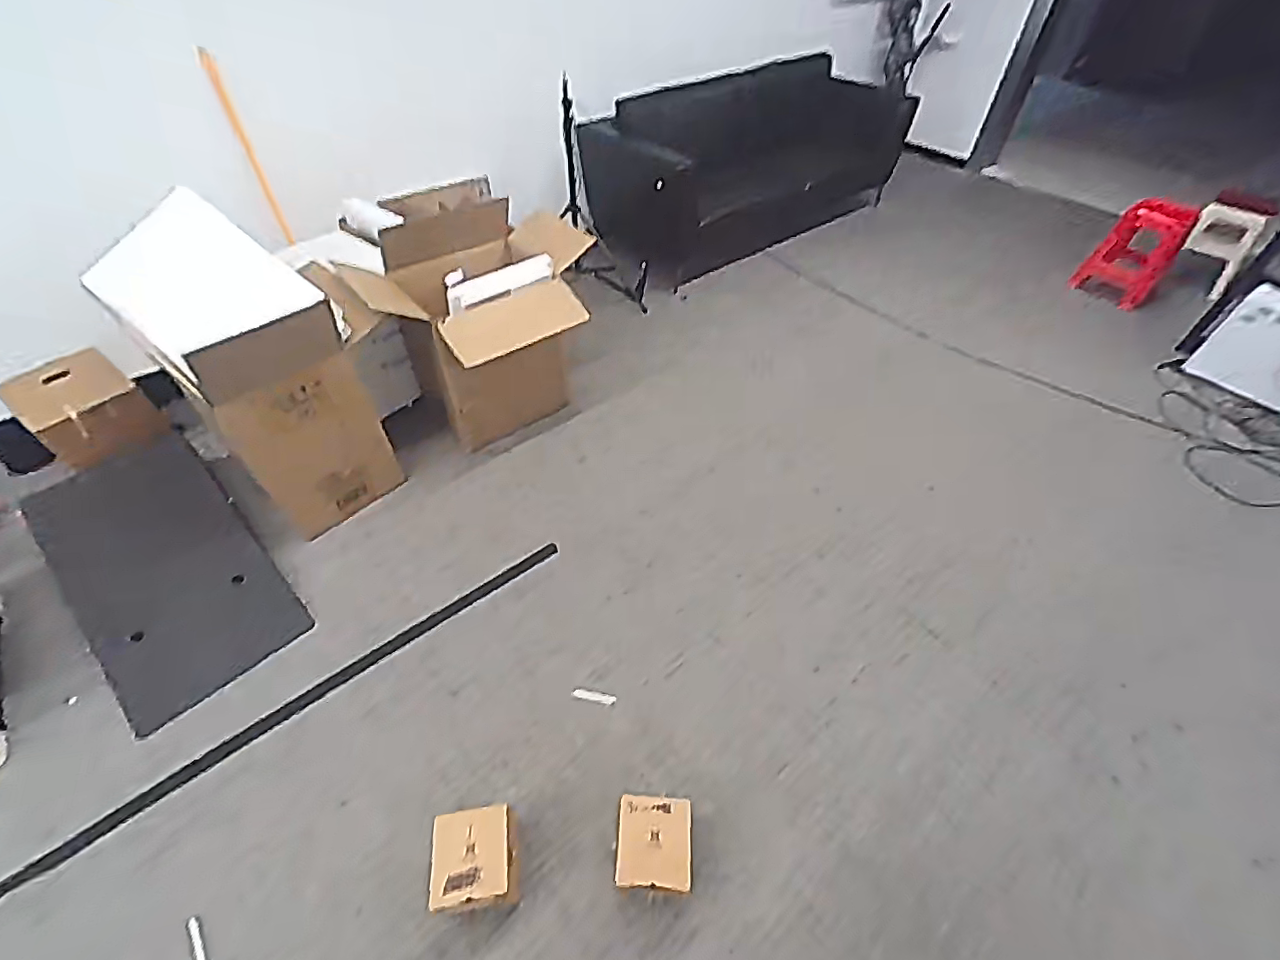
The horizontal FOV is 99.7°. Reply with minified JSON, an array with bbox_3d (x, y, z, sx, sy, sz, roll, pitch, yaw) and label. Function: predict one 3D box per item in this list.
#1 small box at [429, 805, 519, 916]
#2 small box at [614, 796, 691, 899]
[{"bbox_3d":[-0.374,0.882,1.248,0.168,0.176,0.179,-7,47,-8],"label":"small box"},{"bbox_3d":[0.031,0.867,1.272,0.168,0.176,0.179,4,49,2],"label":"small box"}]
